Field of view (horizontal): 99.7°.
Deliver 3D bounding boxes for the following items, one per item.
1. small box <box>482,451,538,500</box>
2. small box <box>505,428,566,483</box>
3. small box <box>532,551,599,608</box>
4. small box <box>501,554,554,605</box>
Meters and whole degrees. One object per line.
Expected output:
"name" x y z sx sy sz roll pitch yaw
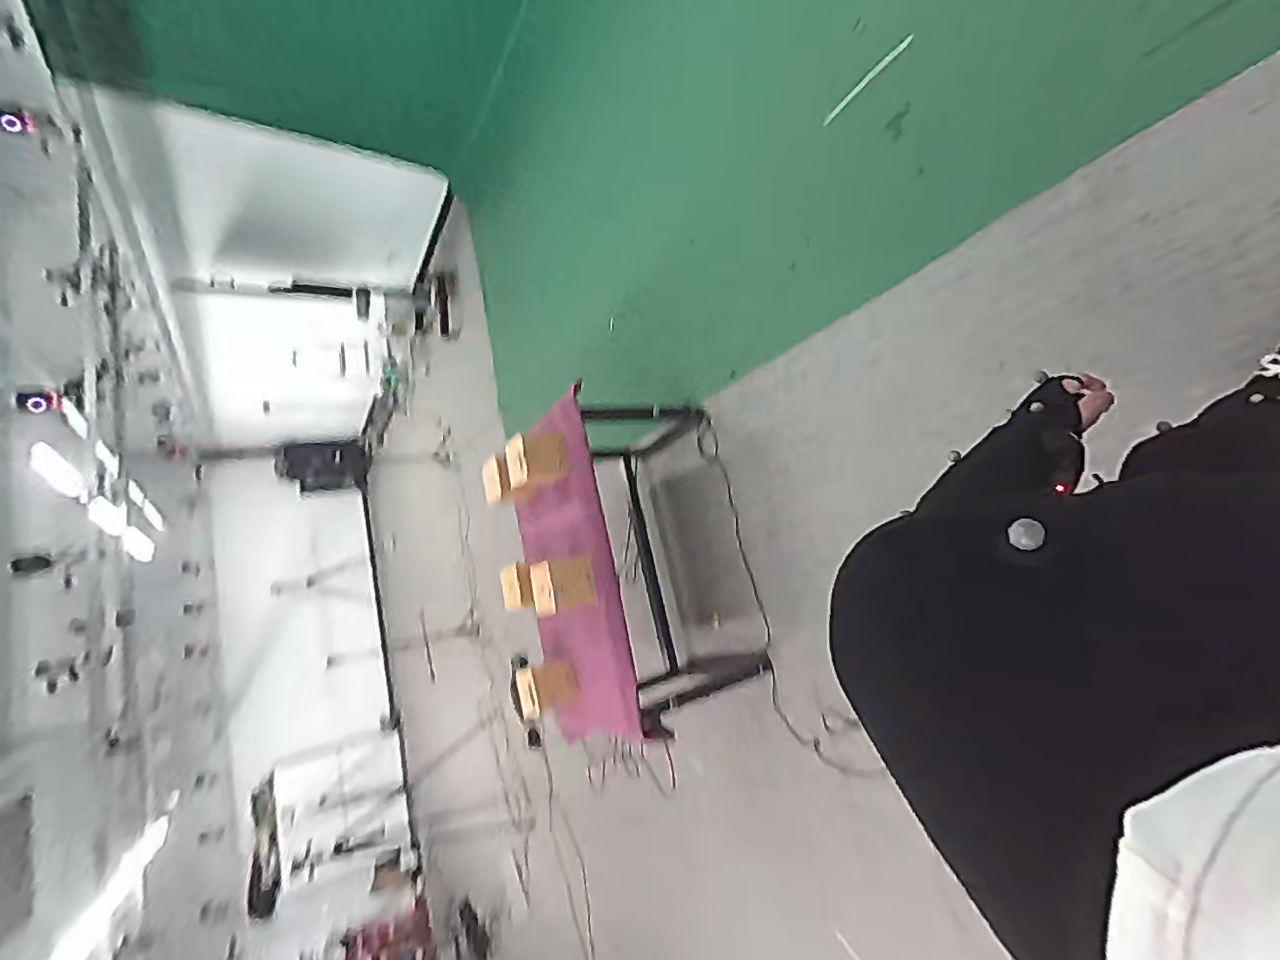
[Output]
"small box" -0.543 -0.019 2.257 0.179 0.176 0.168 -25 76 53
"small box" -0.386 -0.092 2.022 0.179 0.176 0.168 -21 79 56
"small box" -0.267 0.355 1.926 0.179 0.176 0.168 -26 75 55
"small box" -0.440 0.403 2.183 0.179 0.176 0.168 -27 73 52
